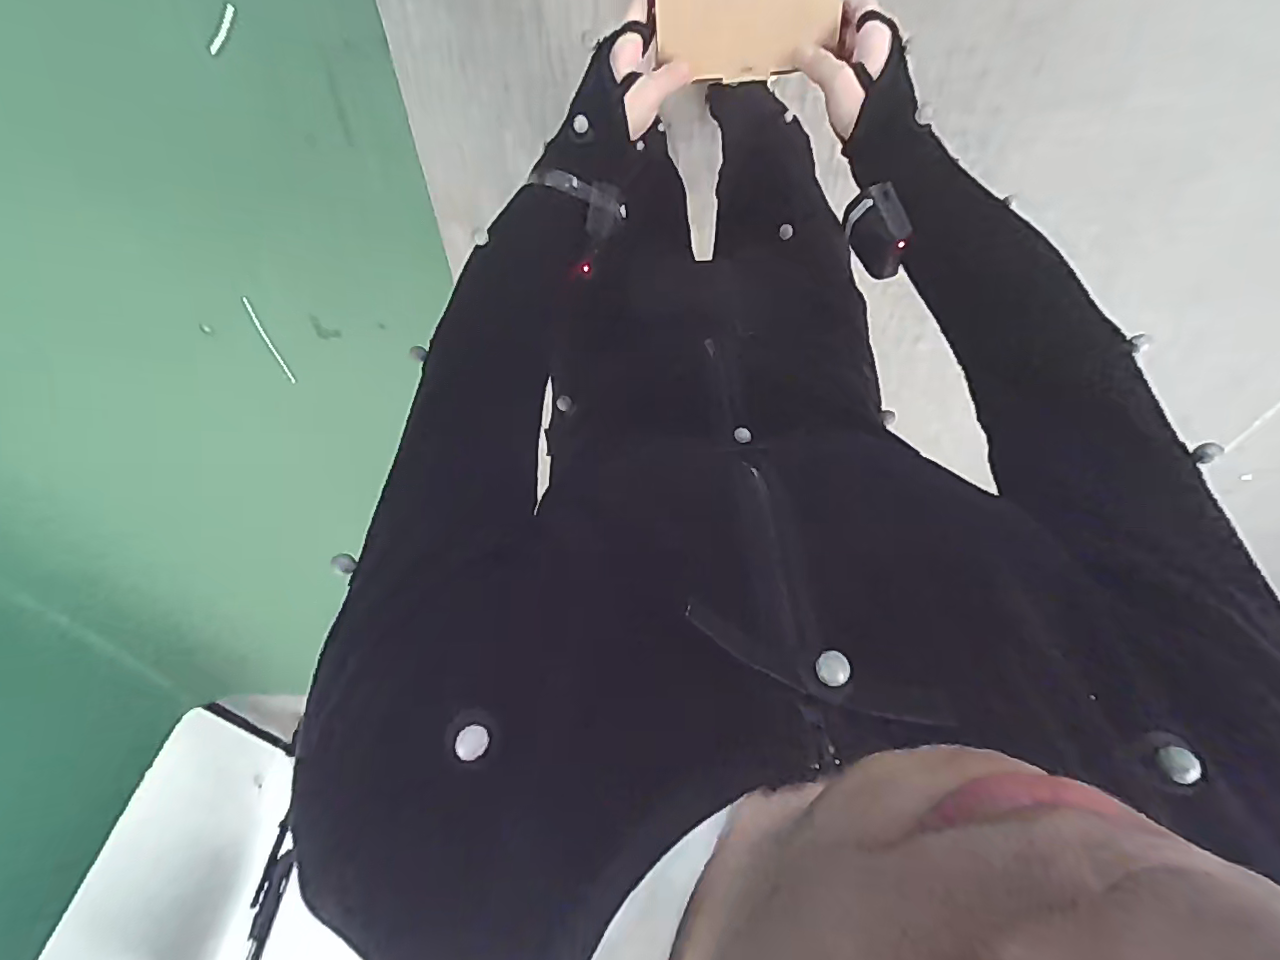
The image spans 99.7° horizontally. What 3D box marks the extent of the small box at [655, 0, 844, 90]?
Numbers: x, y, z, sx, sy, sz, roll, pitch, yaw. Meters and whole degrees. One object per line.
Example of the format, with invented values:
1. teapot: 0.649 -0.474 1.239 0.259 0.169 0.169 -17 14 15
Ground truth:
1. small box: 0.096 -0.498 0.510 0.168 0.176 0.179 -4 135 4
